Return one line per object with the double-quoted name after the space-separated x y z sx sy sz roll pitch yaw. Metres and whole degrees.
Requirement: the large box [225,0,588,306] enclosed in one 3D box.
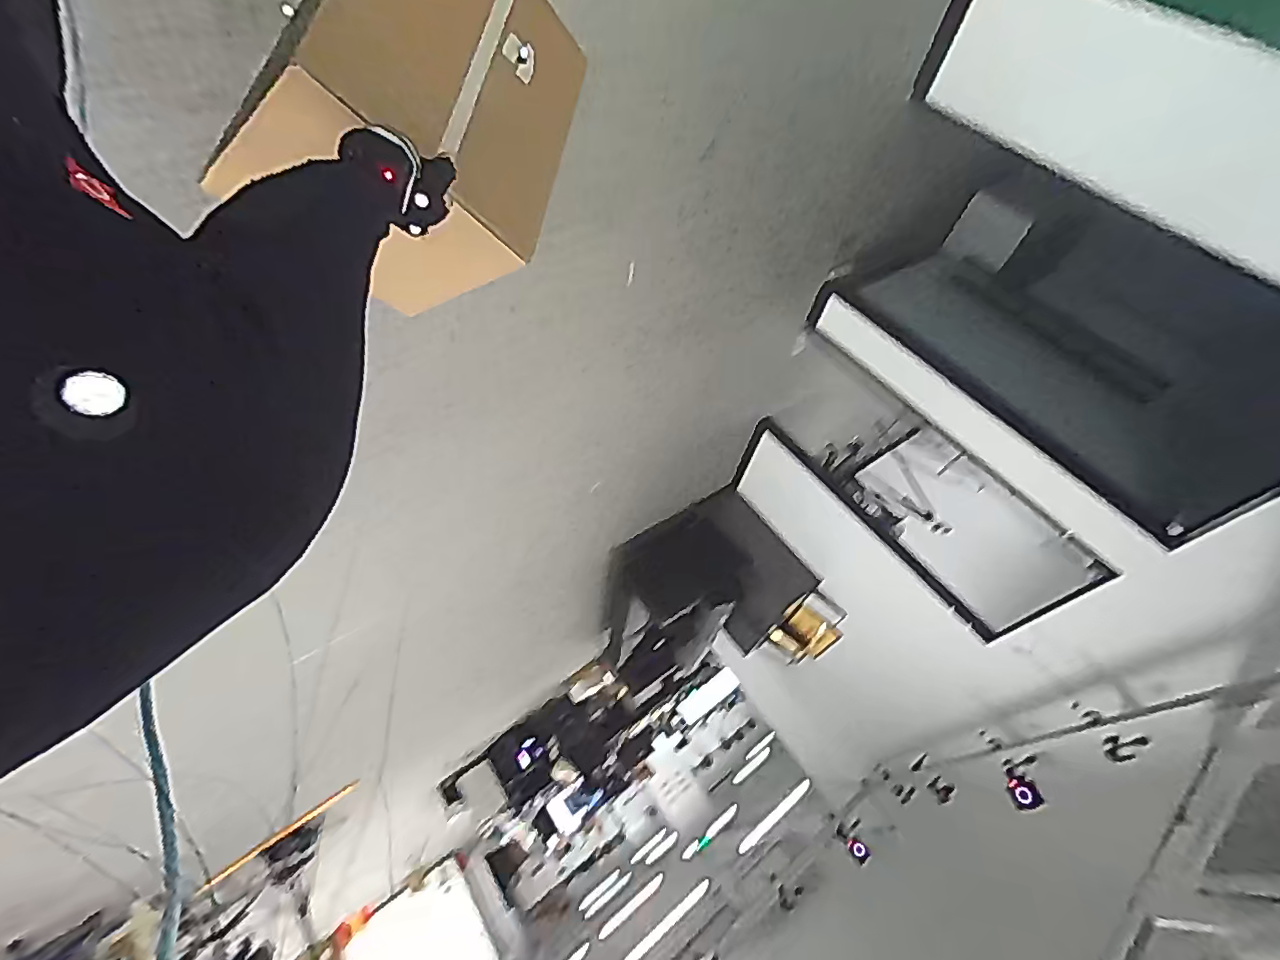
-0.320 -0.538 0.788 0.320 0.408 0.320 -4 158 38 "large box"
